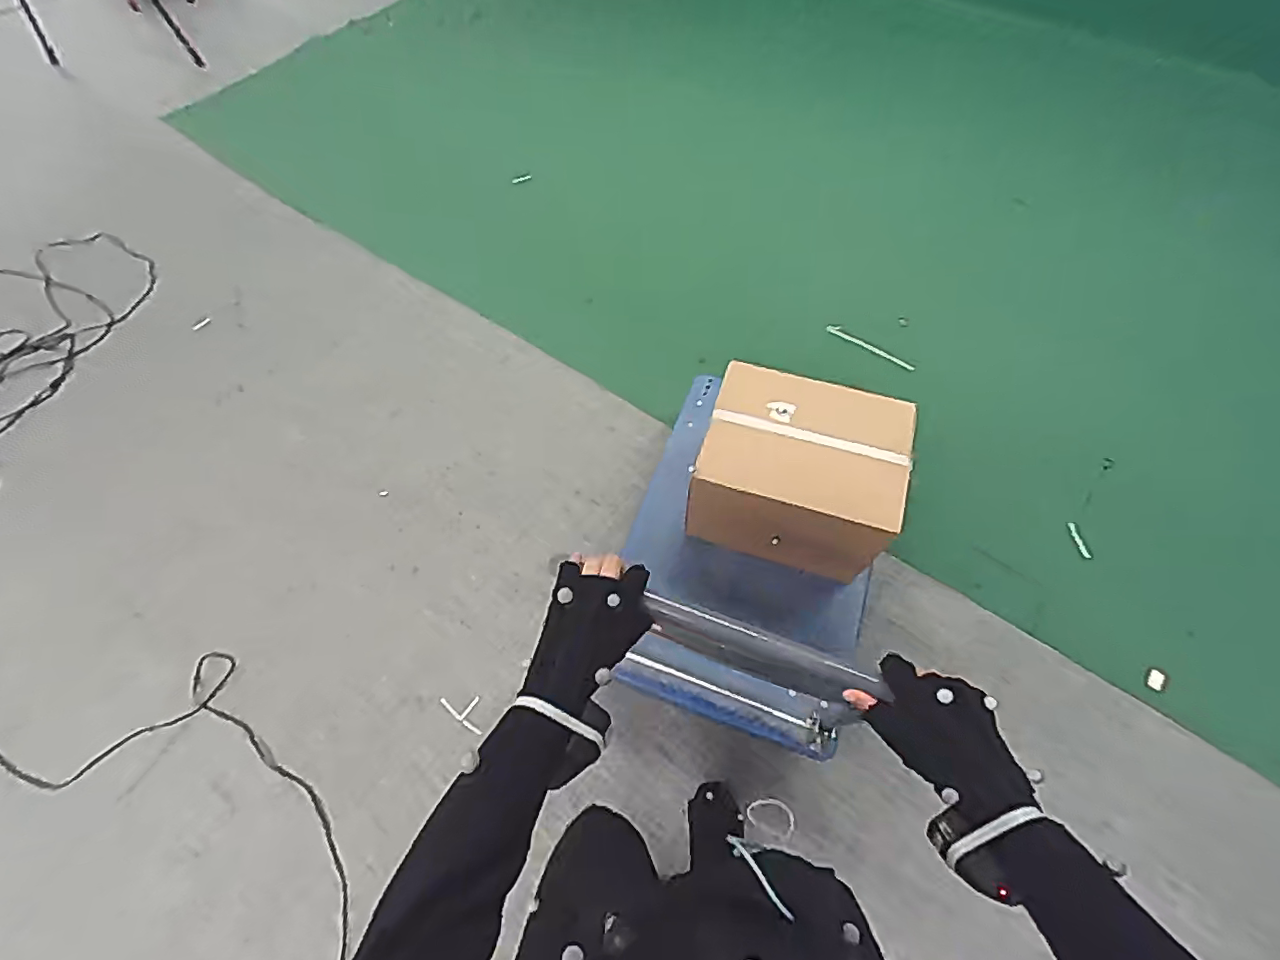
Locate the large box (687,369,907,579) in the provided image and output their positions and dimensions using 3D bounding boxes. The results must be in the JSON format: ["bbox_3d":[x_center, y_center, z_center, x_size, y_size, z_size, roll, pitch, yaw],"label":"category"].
[{"bbox_3d":[0.344,-0.005,1.247,0.408,0.320,0.320,15,62,11],"label":"large box"}]
